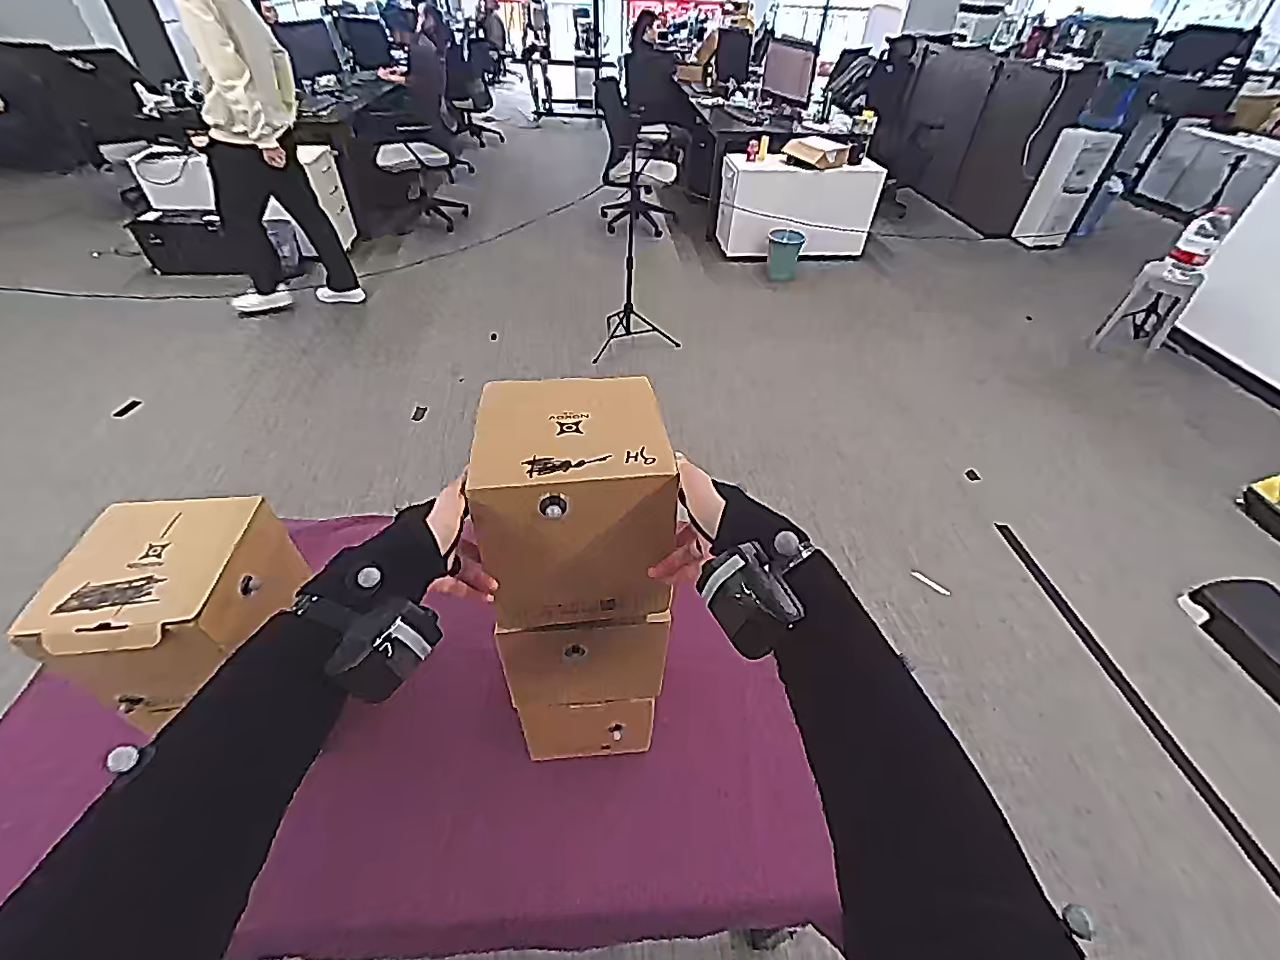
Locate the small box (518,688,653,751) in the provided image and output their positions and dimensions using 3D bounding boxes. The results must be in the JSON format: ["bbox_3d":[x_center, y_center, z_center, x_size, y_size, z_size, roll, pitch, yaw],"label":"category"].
[{"bbox_3d":[-0.072,0.264,0.758,0.168,0.176,0.179,-1,43,-5],"label":"small box"}]

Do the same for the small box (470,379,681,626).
[{"bbox_3d":[-0.059,0.016,0.529,0.168,0.176,0.179,-4,37,-6],"label":"small box"}]

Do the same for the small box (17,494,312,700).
[{"bbox_3d":[-0.515,0.139,0.627,0.168,0.176,0.179,-2,44,-7],"label":"small box"}]

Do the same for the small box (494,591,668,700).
[{"bbox_3d":[-0.066,0.147,0.643,0.179,0.176,0.168,-2,44,-6],"label":"small box"}]

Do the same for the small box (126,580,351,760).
[{"bbox_3d":[-0.521,0.258,0.740,0.168,0.176,0.179,-2,45,-6],"label":"small box"}]
